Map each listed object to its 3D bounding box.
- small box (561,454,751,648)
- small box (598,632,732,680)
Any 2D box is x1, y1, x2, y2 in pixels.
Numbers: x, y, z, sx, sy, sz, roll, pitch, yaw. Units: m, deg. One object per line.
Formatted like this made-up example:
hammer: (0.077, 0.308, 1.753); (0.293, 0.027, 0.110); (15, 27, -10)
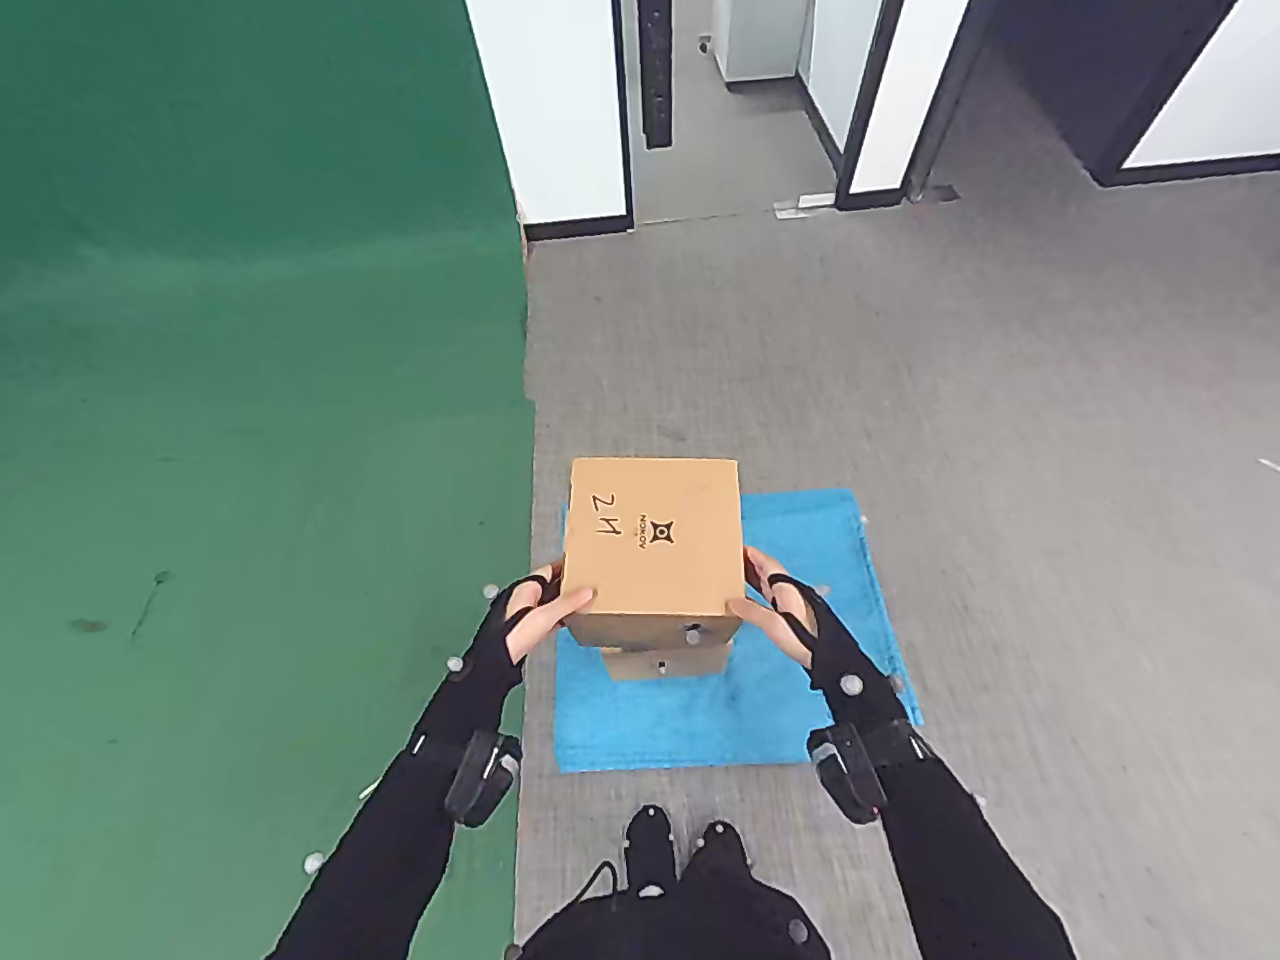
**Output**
small box: (0.017, 0.085, 0.597); (0.179, 0.176, 0.168); (1, 62, 1)
small box: (0.033, 0.193, 0.804); (0.179, 0.176, 0.168); (-4, 57, 1)
